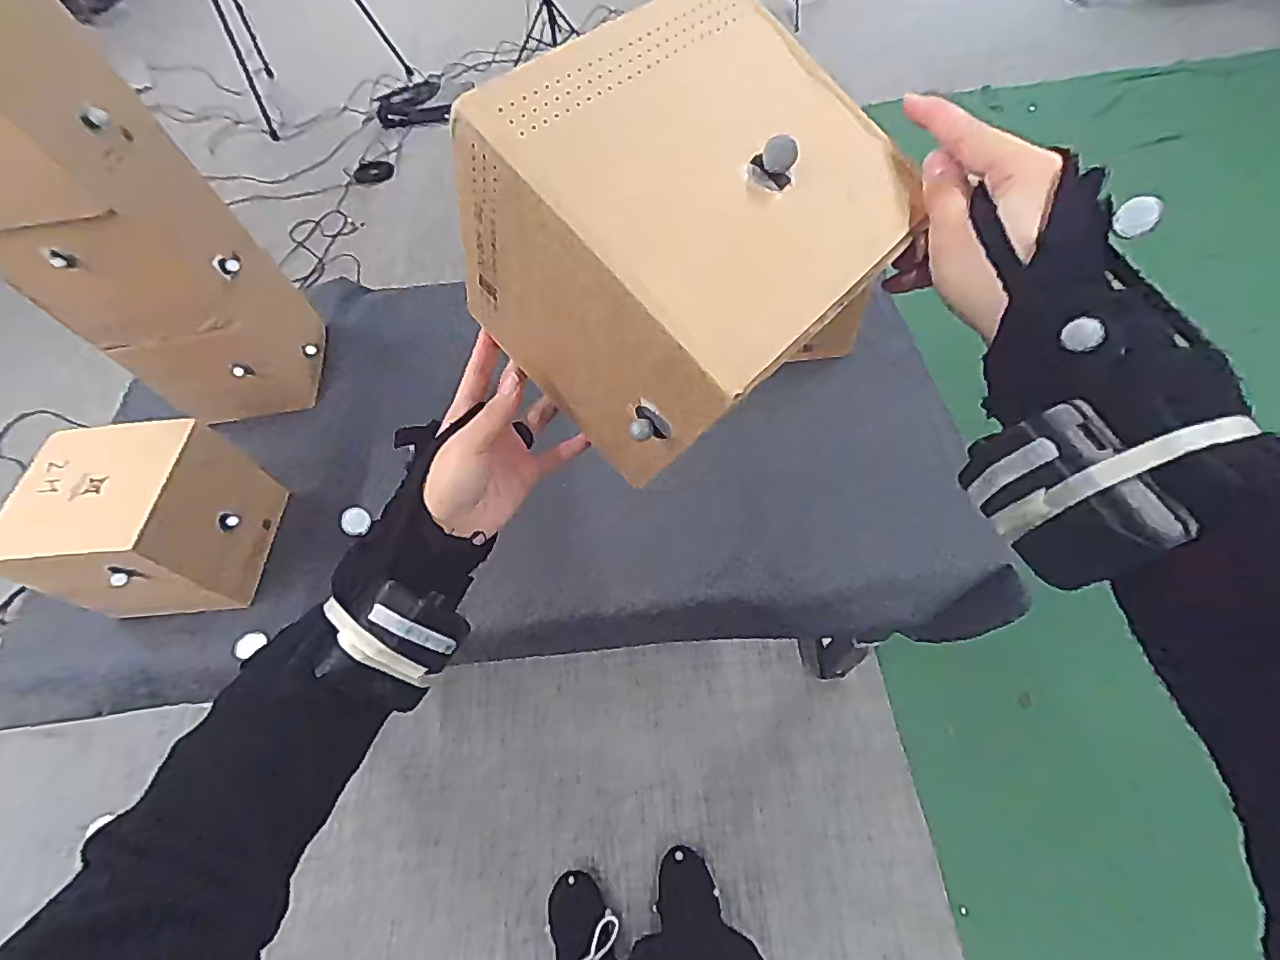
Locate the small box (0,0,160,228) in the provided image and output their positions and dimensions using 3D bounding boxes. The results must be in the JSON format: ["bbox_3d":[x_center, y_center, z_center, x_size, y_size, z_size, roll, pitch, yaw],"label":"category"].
[{"bbox_3d":[-0.619,-0.354,0.501,0.179,0.176,0.168,-8,62,0],"label":"small box"}]

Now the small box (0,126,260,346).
[{"bbox_3d":[-0.610,-0.282,0.648,0.179,0.176,0.168,-9,62,-1],"label":"small box"}]

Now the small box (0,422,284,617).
[{"bbox_3d":[-0.567,0.052,0.634,0.179,0.176,0.168,-5,57,3],"label":"small box"}]

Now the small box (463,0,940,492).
[{"bbox_3d":[0.021,-0.125,0.319,0.176,0.168,0.179,46,69,0],"label":"small box"}]
